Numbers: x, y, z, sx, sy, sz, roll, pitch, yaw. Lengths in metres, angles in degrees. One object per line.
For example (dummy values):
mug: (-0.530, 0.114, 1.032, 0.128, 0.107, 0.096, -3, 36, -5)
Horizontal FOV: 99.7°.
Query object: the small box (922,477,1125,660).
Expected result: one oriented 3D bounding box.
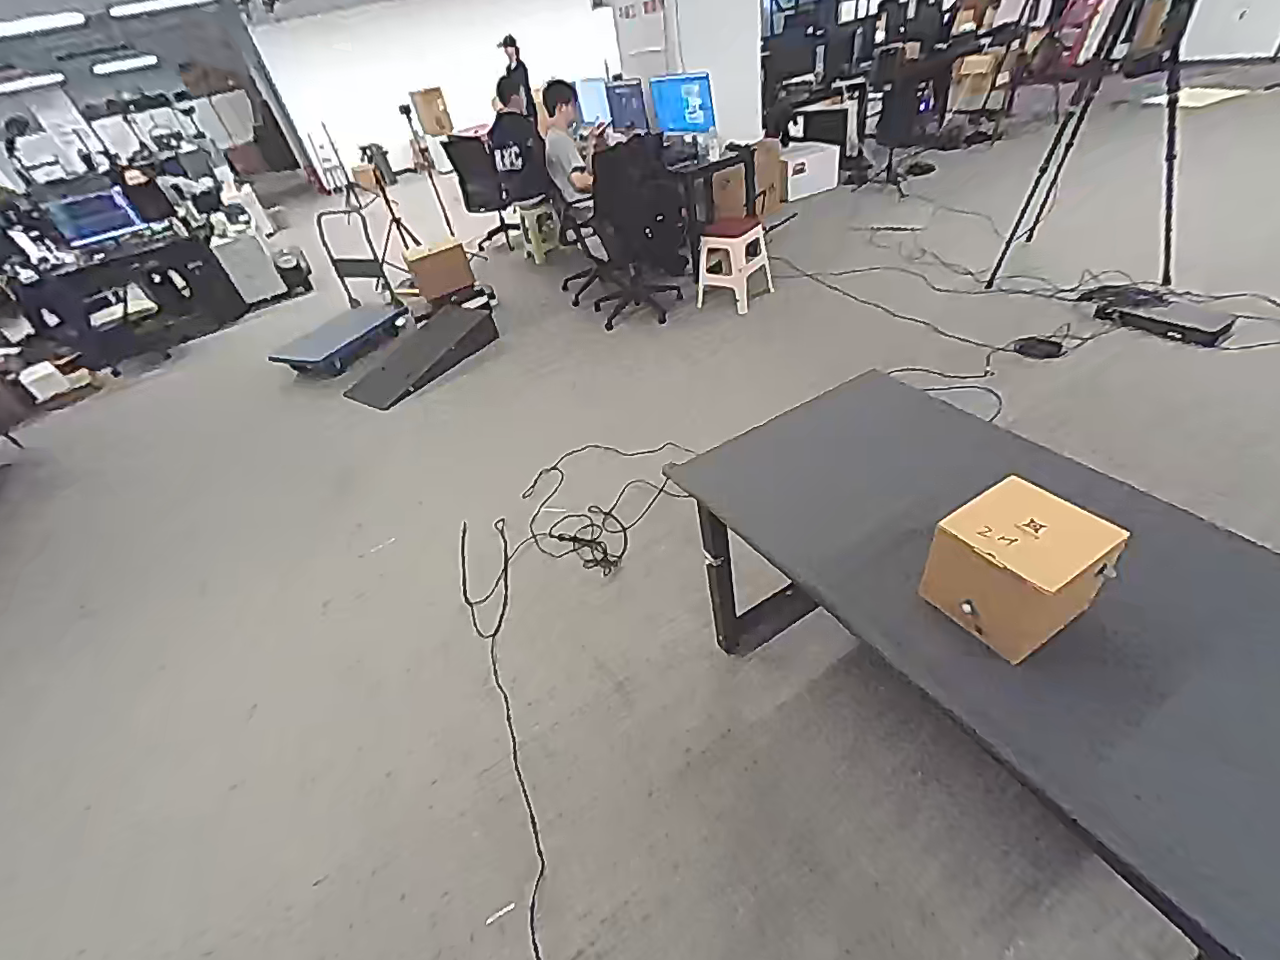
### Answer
small box: (0.560, 0.131, 0.817, 0.179, 0.176, 0.168, -26, 42, -17)
